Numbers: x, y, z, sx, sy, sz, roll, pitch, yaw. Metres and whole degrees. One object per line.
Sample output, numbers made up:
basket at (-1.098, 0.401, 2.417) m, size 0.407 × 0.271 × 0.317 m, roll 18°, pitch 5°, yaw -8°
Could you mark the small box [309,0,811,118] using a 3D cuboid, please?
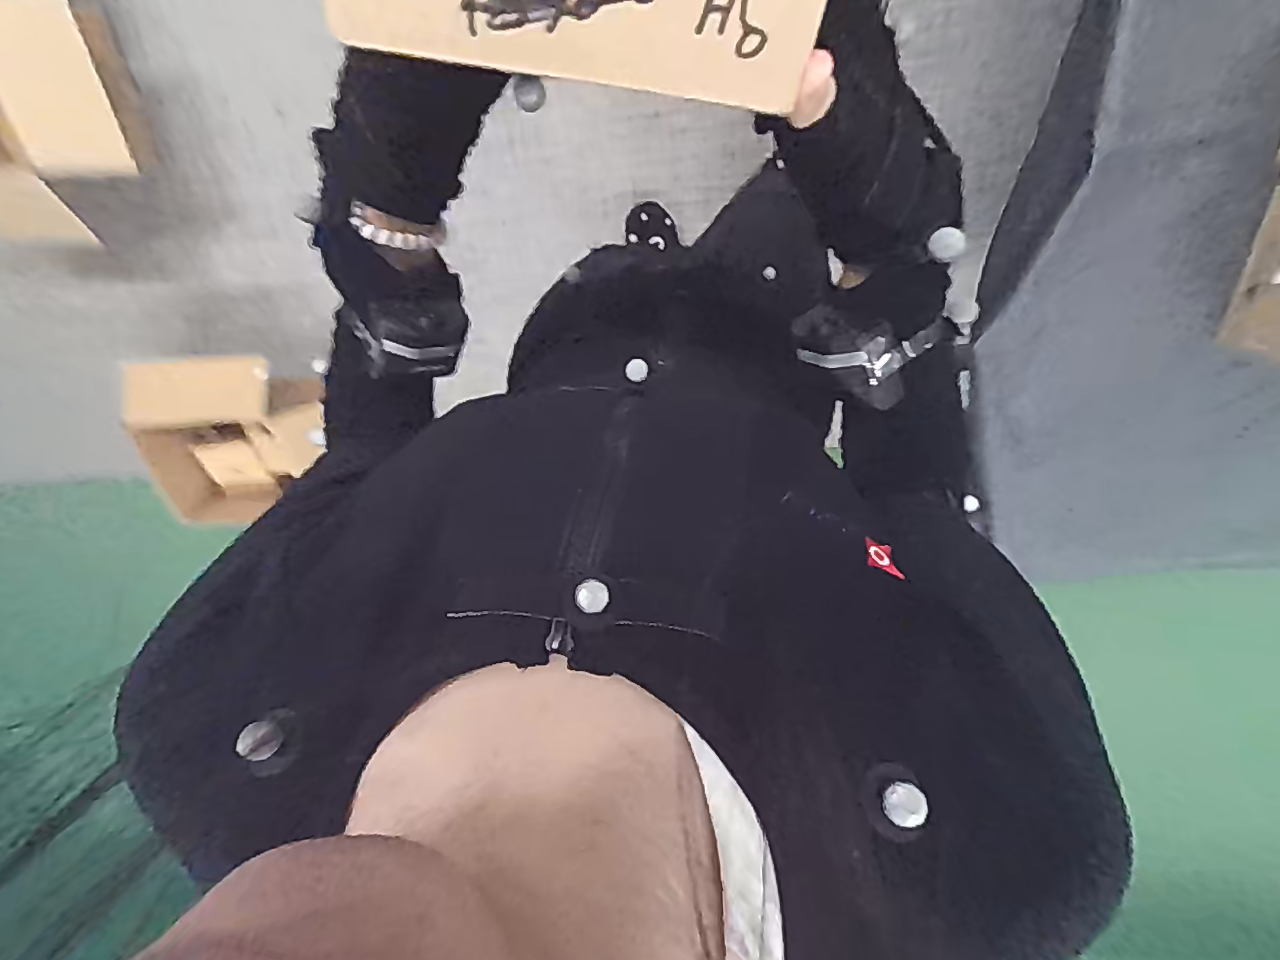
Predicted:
small box at (-0.018, -0.258, 0.193) m, size 0.168 × 0.176 × 0.179 m, roll 5°, pitch 134°, yaw -5°
